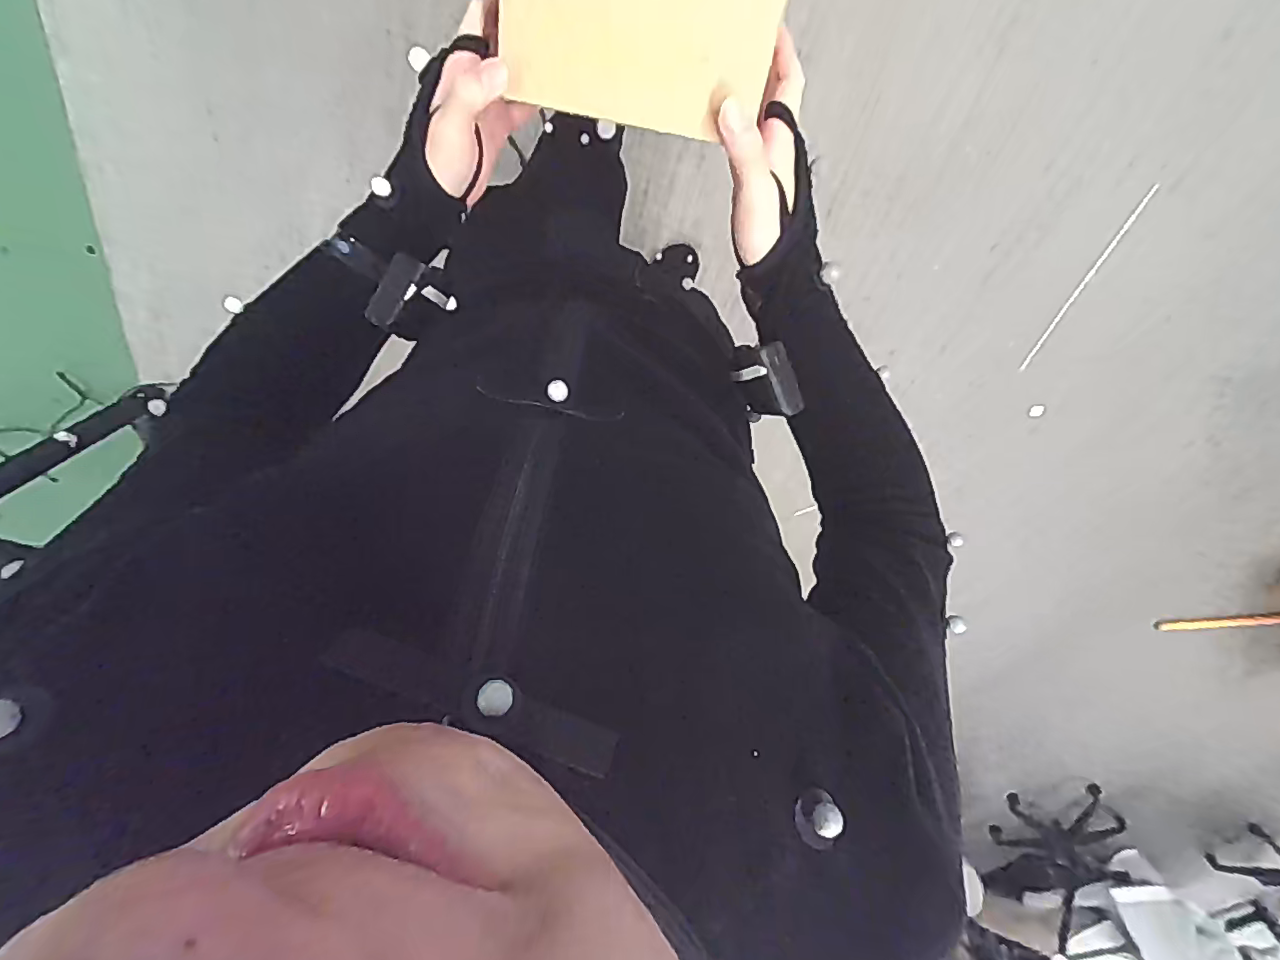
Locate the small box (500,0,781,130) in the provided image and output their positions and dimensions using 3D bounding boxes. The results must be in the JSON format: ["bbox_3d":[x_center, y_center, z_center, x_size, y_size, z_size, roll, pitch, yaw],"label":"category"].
[{"bbox_3d":[0.015,-0.351,0.357,0.168,0.176,0.179,11,125,-1],"label":"small box"}]
